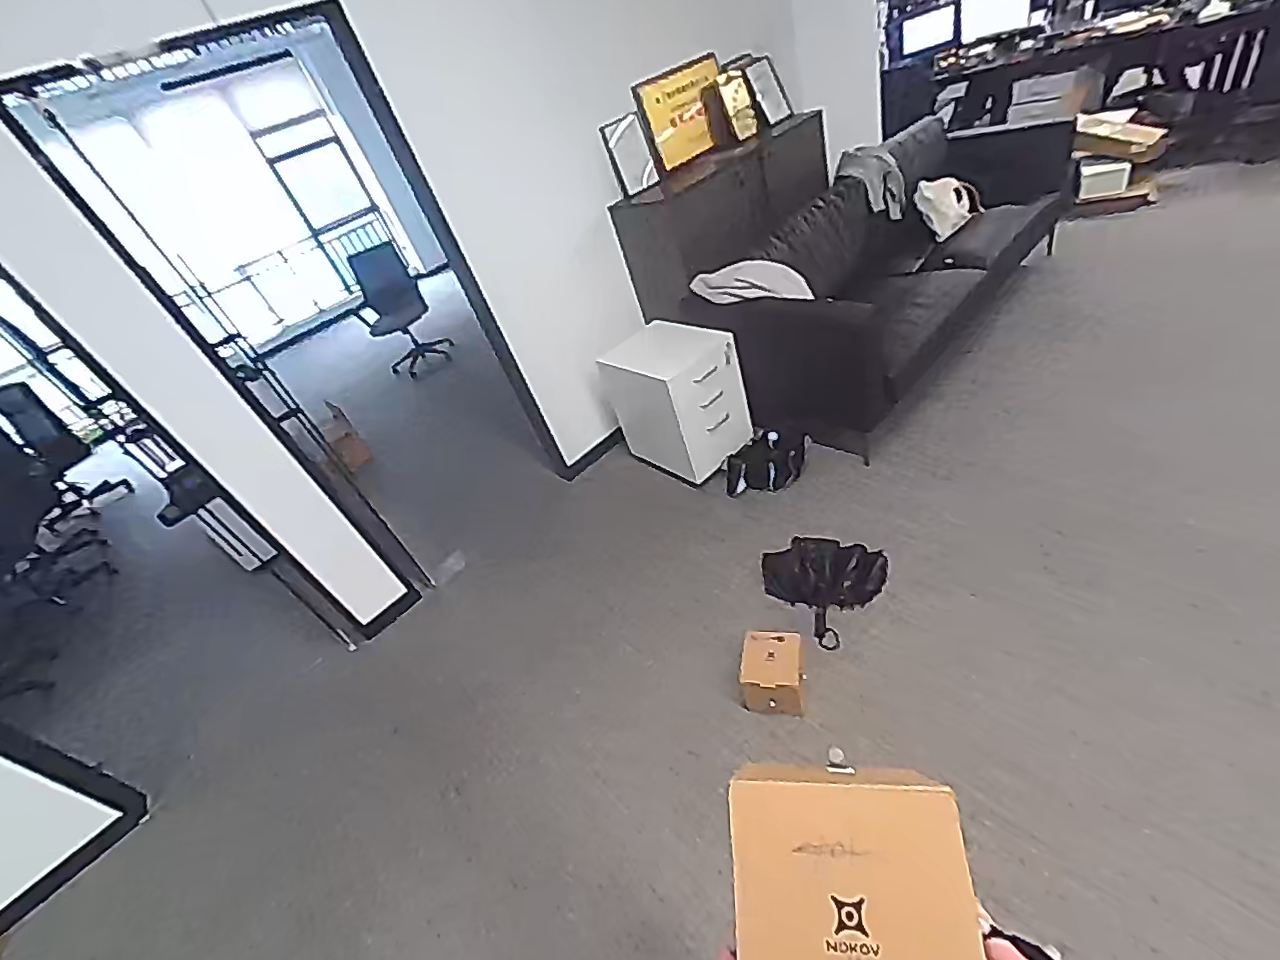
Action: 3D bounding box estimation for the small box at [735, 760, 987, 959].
[{"bbox_3d":[0.173,0.344,0.458,0.168,0.176,0.179,-5,66,12],"label":"small box"}]
